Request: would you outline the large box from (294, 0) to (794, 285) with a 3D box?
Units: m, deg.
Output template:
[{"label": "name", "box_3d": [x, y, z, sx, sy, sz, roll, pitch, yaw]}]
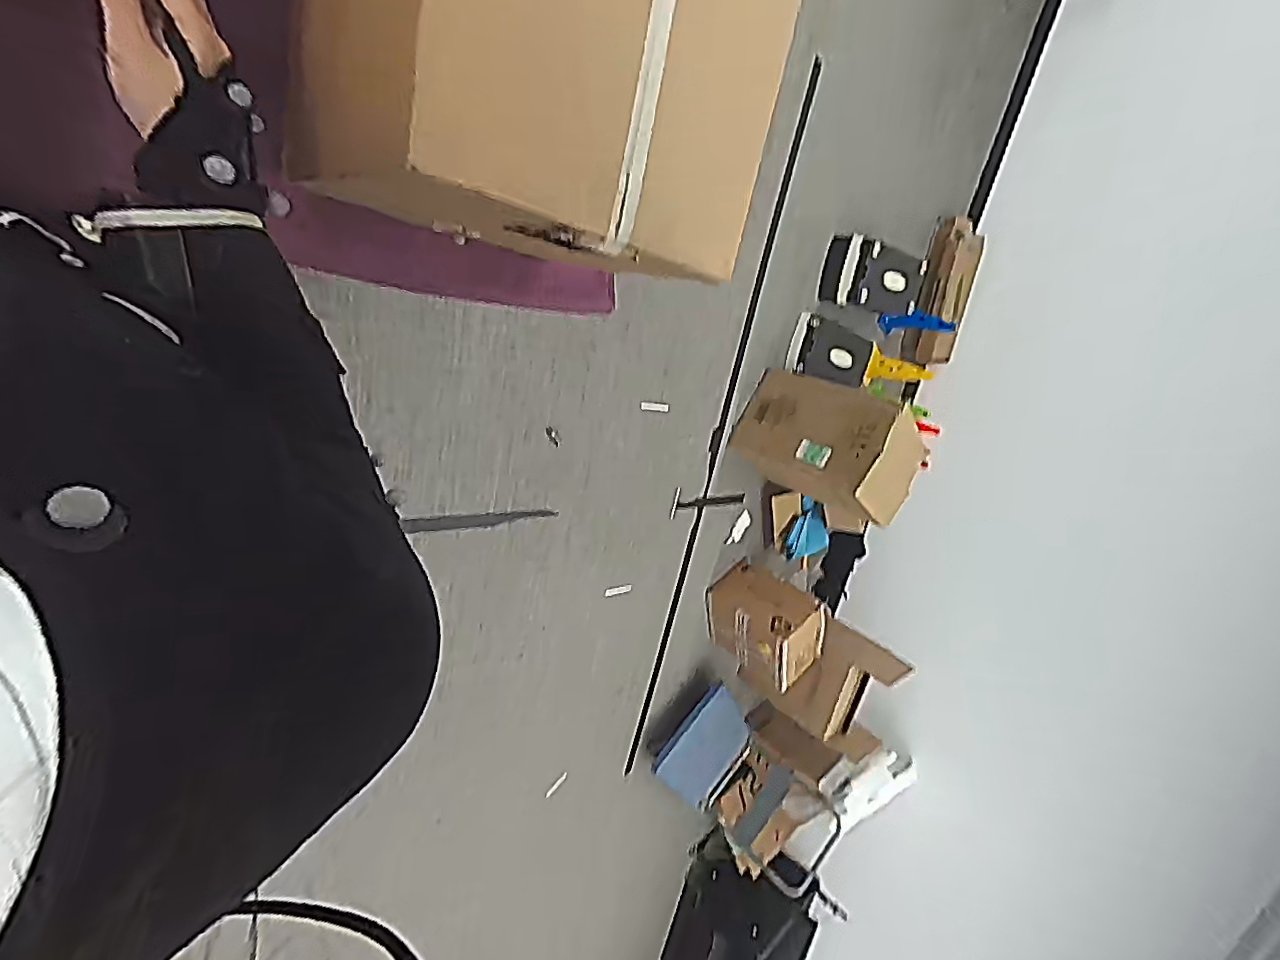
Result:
[{"label": "large box", "box_3d": [-0.084, -0.413, 0.467, 0.320, 0.320, 0.408, -4, 112, -46]}]
